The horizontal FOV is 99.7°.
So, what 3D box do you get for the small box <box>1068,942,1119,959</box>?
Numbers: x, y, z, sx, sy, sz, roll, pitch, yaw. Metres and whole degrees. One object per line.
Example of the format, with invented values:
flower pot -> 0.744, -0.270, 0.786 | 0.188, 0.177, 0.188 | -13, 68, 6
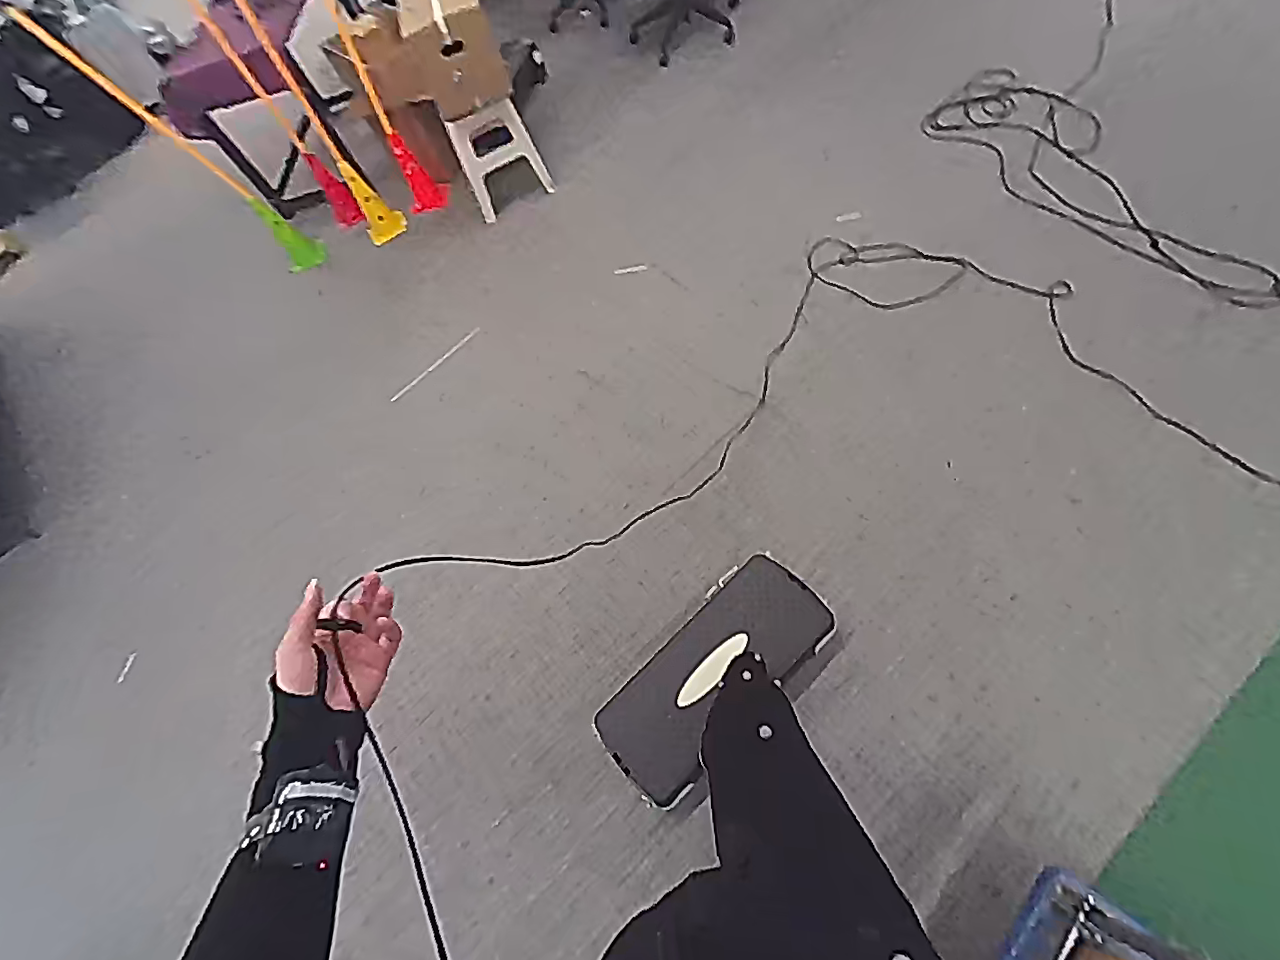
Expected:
small box -> 0.770, 0.874, 0.831 | 0.179, 0.176, 0.168 | 38, 78, 28
